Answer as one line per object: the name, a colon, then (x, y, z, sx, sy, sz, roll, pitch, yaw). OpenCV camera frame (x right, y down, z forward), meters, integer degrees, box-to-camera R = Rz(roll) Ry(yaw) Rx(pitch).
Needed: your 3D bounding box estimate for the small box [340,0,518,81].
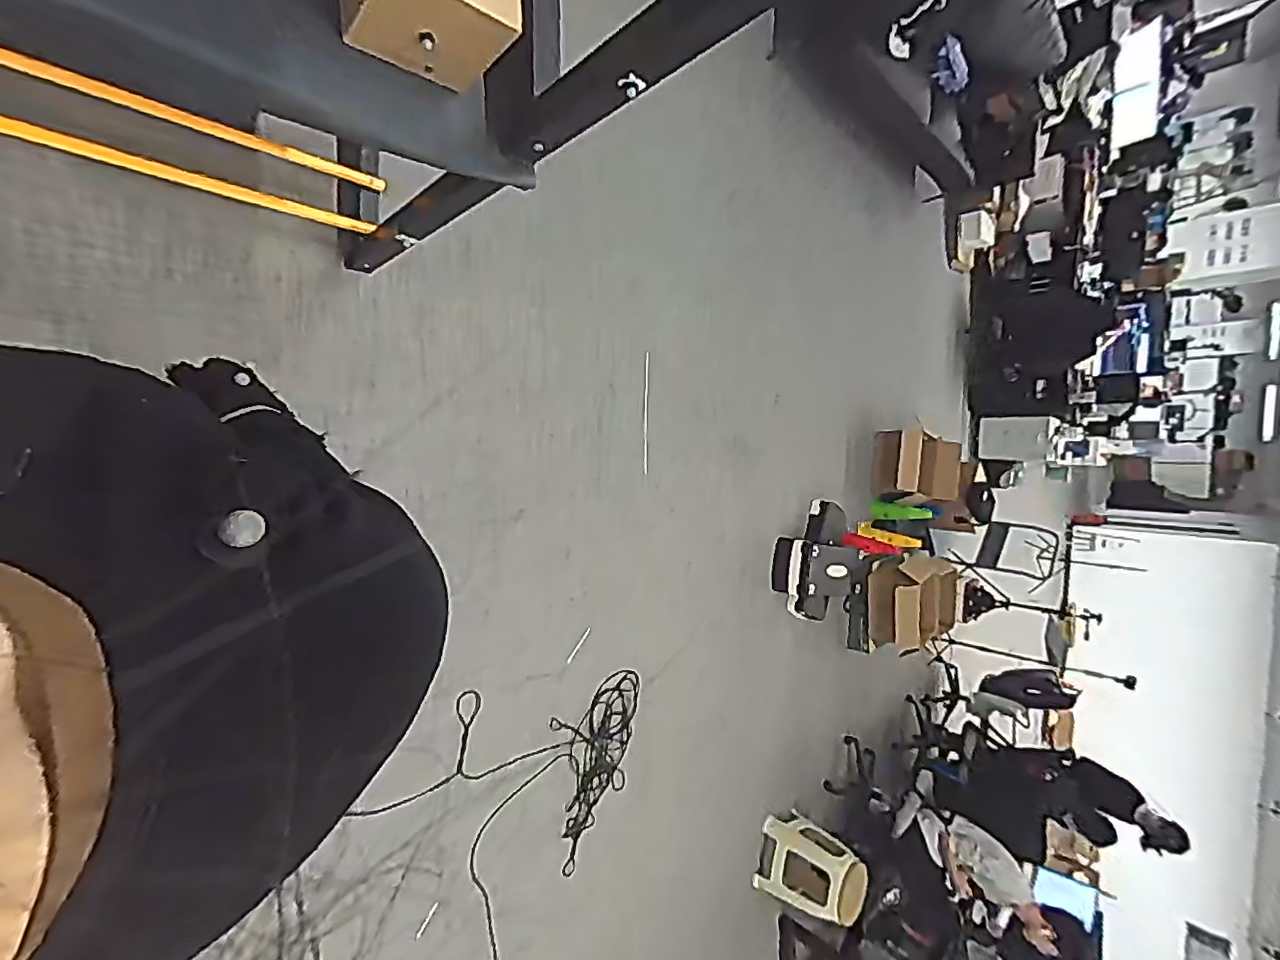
small box: (-0.272, -0.658, 0.684, 0.168, 0.176, 0.179, -7, 98, -45)
